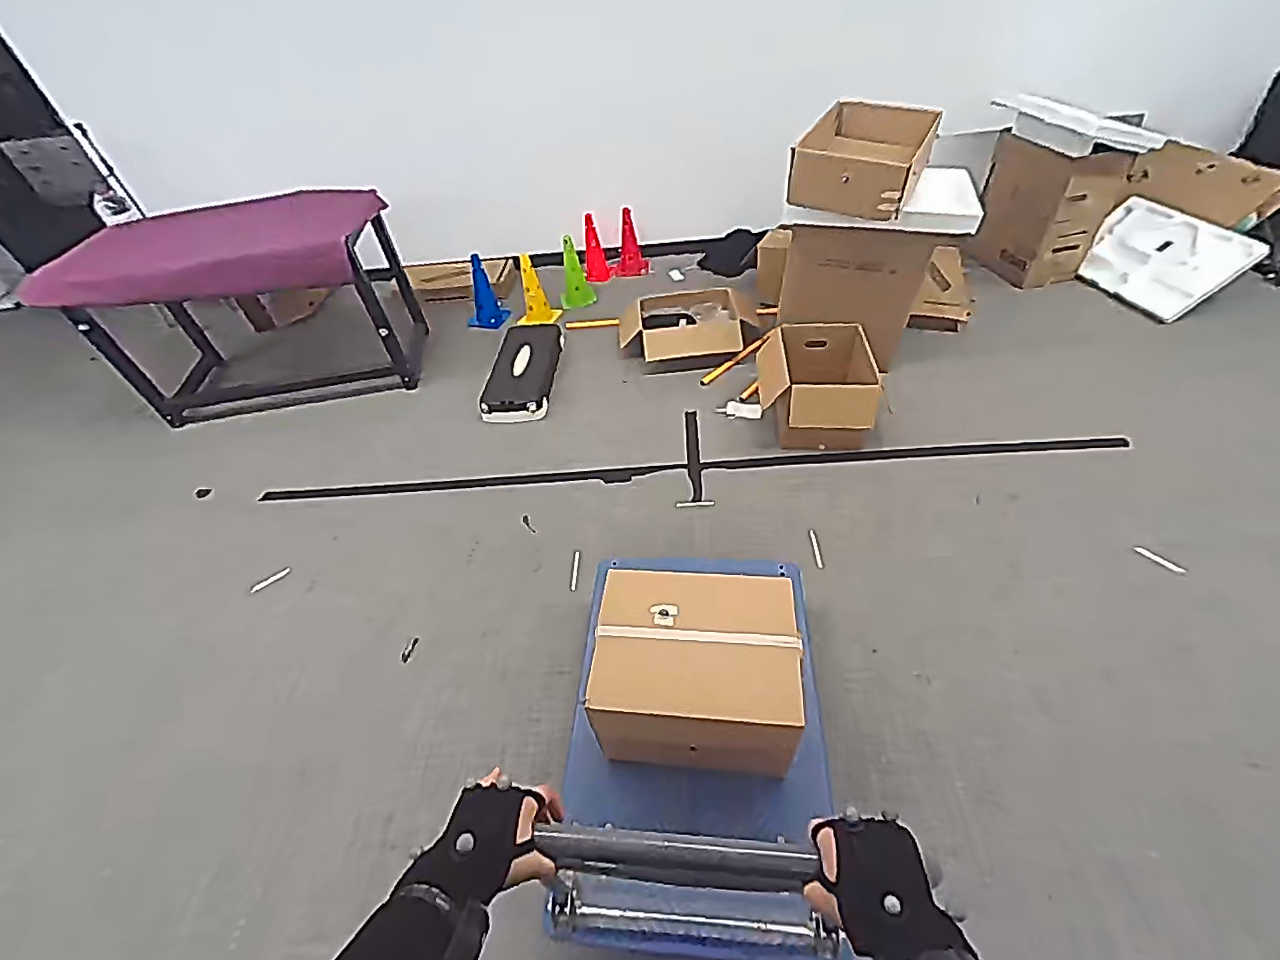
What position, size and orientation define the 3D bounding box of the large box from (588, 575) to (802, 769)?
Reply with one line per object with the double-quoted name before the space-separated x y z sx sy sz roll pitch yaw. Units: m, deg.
"large box" 0.126 0.428 1.209 0.408 0.320 0.320 1 45 8
